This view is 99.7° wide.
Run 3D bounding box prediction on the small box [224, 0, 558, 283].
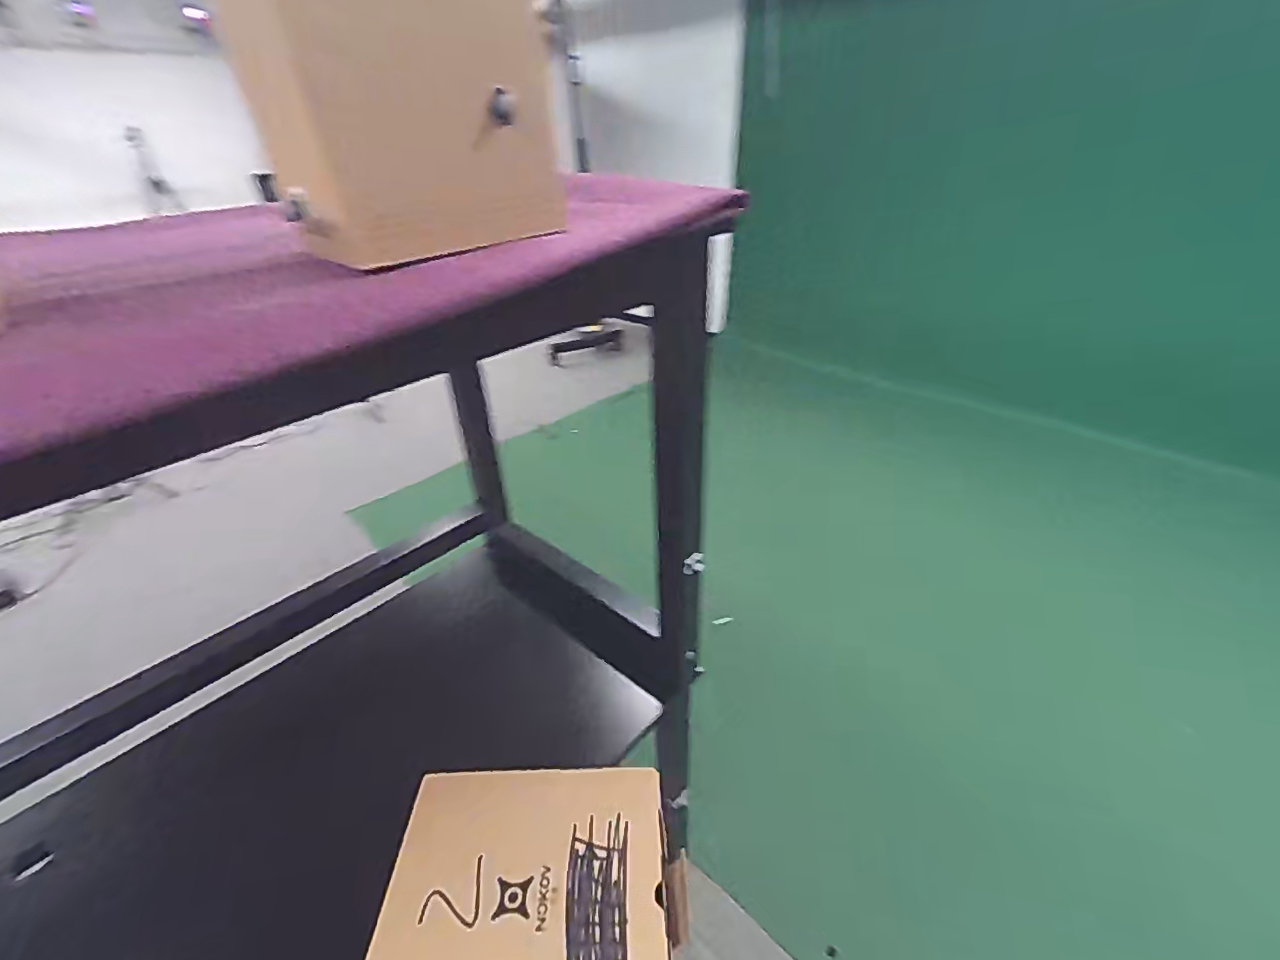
[{"bbox_3d":[-0.181,-0.269,0.431,0.179,0.176,0.168,-30,39,-32],"label":"small box"}]
